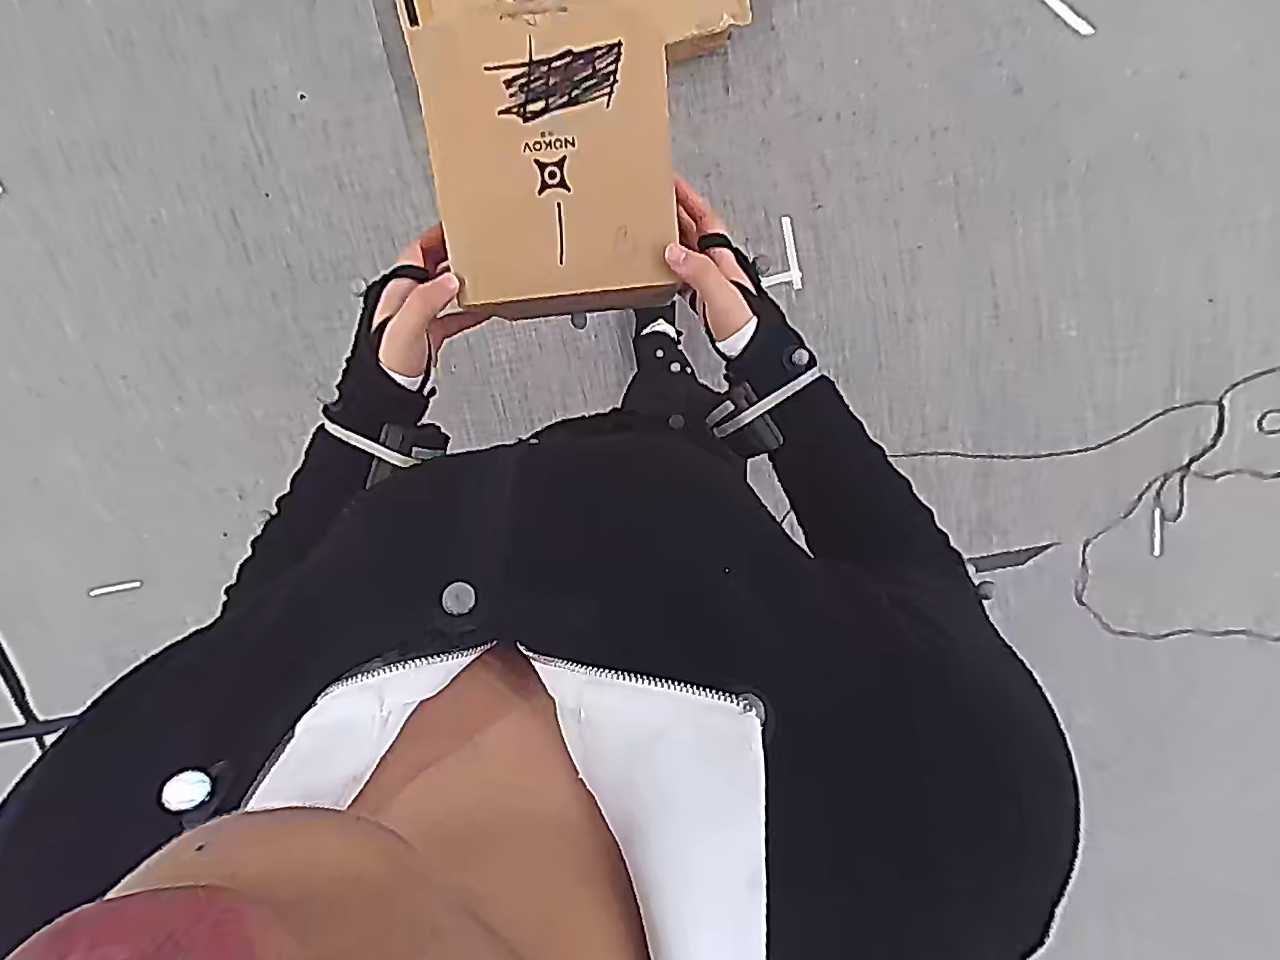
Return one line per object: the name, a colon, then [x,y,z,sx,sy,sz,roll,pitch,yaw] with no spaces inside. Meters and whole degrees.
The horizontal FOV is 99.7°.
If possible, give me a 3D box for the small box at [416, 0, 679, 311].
small box: [-0.061,-0.245,0.450,0.168,0.176,0.179,-6,103,1]
